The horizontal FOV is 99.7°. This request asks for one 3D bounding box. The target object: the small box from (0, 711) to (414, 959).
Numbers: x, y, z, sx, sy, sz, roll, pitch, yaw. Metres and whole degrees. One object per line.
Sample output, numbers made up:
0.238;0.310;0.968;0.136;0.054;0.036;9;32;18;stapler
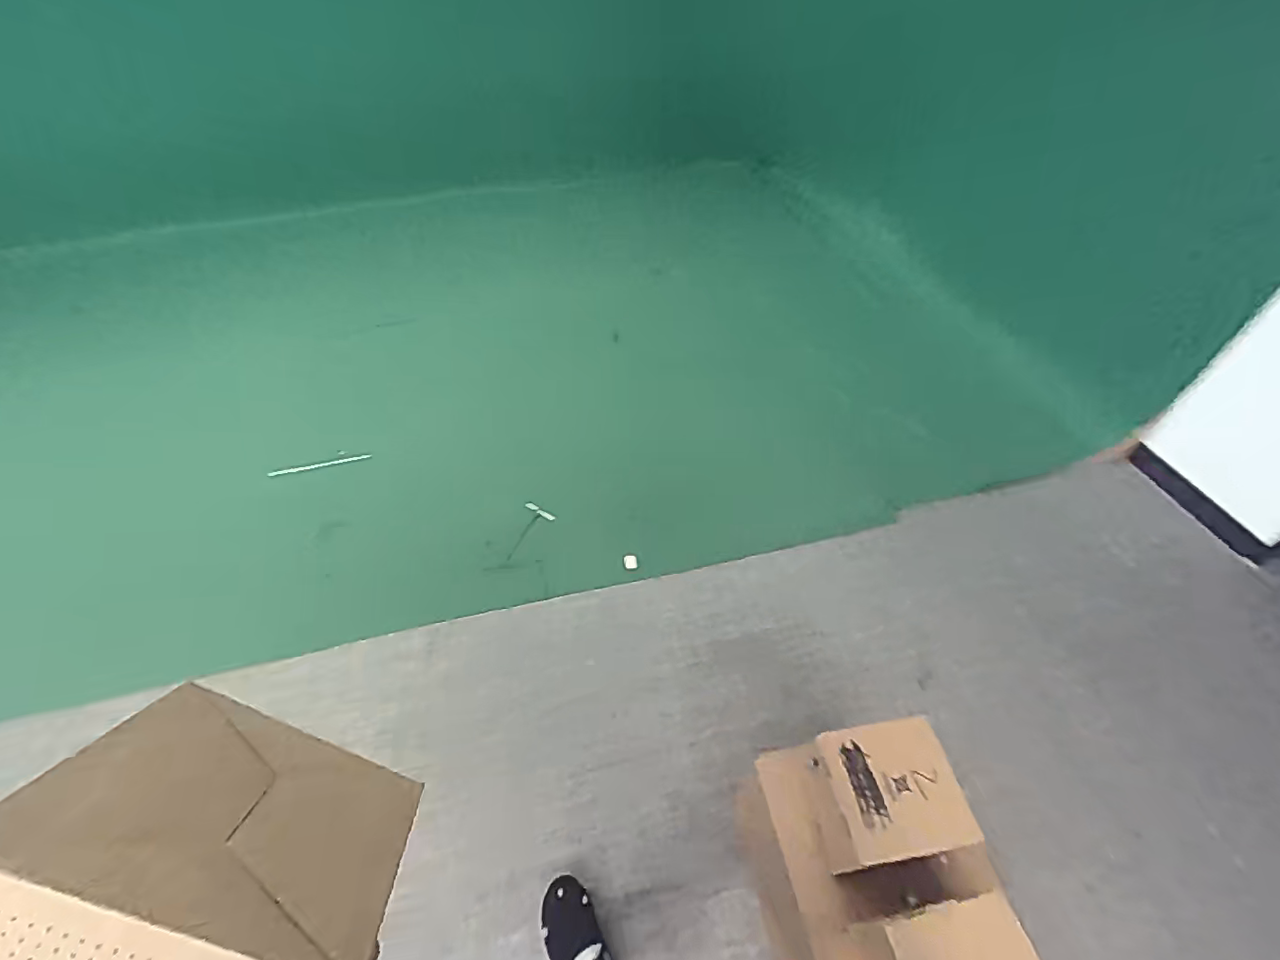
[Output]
-0.256;0.259;0.292;0.179;0.168;0.176;30;86;-12;small box
